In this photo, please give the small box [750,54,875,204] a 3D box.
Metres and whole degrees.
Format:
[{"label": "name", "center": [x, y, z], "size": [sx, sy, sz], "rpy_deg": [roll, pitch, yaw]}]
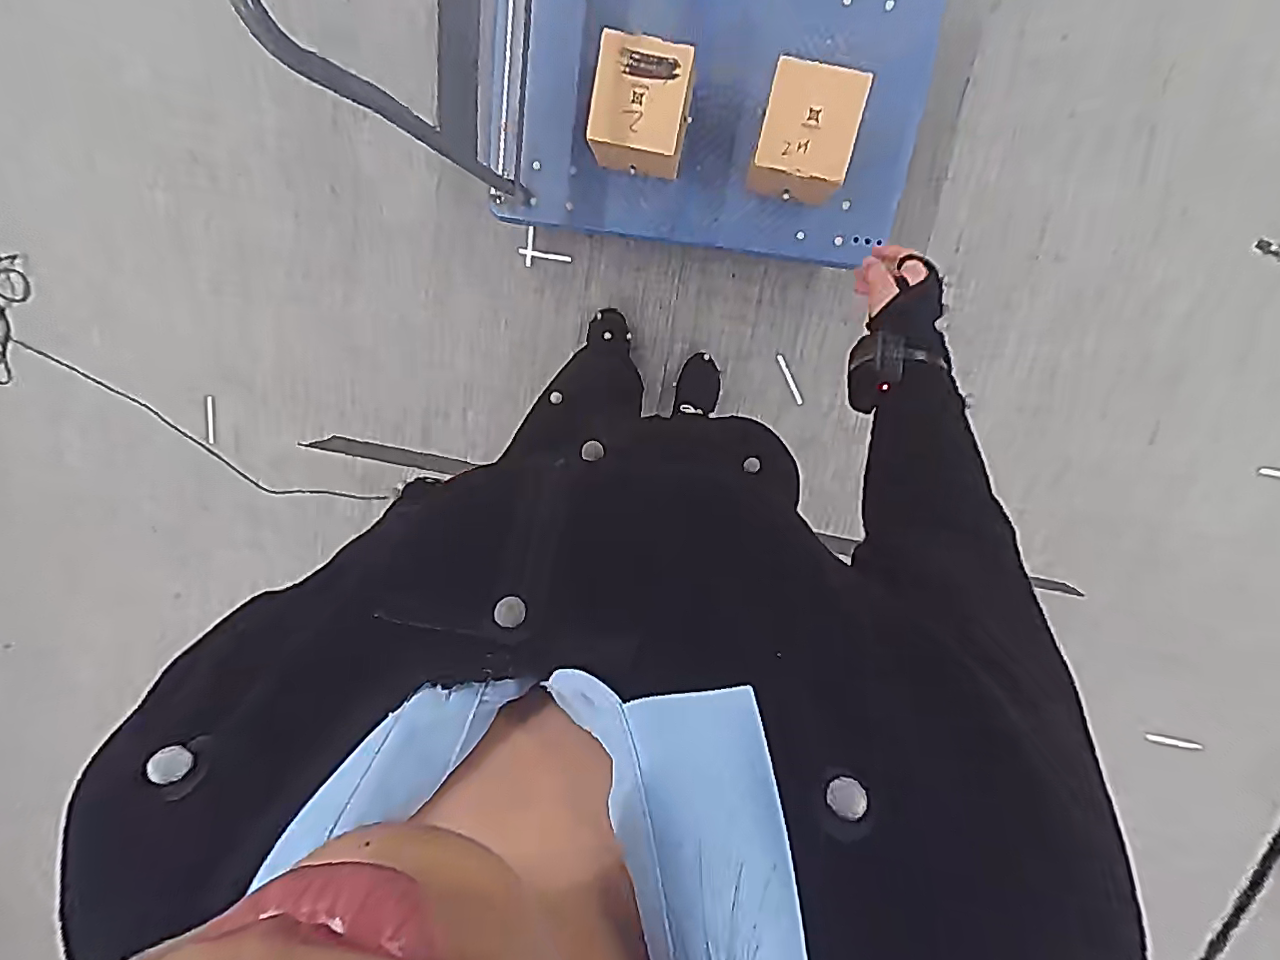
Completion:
[{"label": "small box", "center": [0.312, -0.650, 1.022], "size": [0.168, 0.176, 0.179], "rpy_deg": [13, 105, 2]}]
